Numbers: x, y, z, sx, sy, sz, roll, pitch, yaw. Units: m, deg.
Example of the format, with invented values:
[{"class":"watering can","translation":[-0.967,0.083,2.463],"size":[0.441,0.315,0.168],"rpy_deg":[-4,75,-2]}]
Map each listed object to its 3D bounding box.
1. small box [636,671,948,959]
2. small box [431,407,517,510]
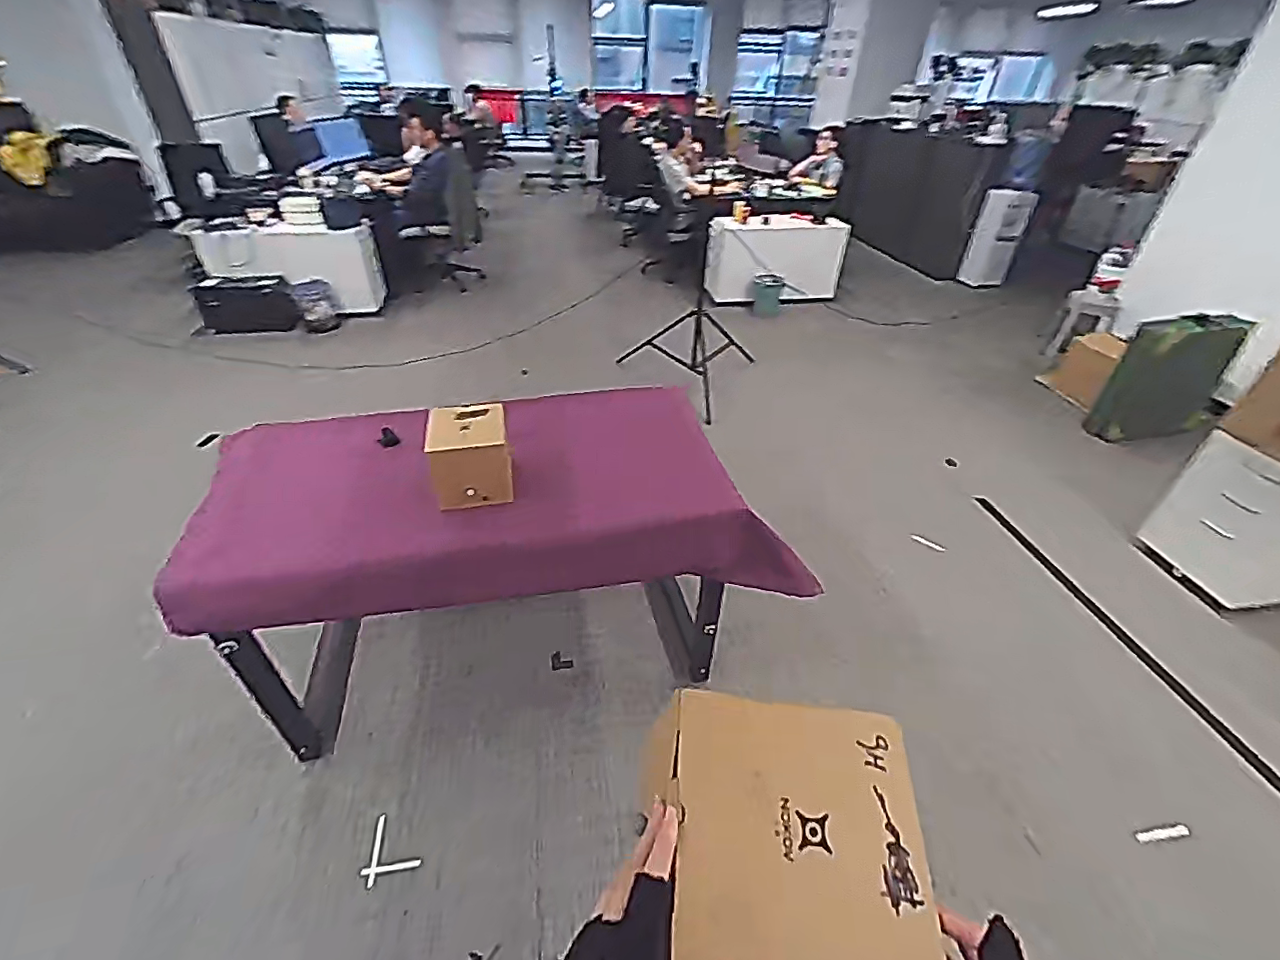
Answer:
[{"class":"small box","translation":[0.094,0.268,0.426],"size":[0.179,0.176,0.168],"rpy_deg":[8,51,-3]},{"class":"small box","translation":[-0.383,-0.052,1.268],"size":[0.168,0.176,0.179],"rpy_deg":[-7,38,-11]}]
